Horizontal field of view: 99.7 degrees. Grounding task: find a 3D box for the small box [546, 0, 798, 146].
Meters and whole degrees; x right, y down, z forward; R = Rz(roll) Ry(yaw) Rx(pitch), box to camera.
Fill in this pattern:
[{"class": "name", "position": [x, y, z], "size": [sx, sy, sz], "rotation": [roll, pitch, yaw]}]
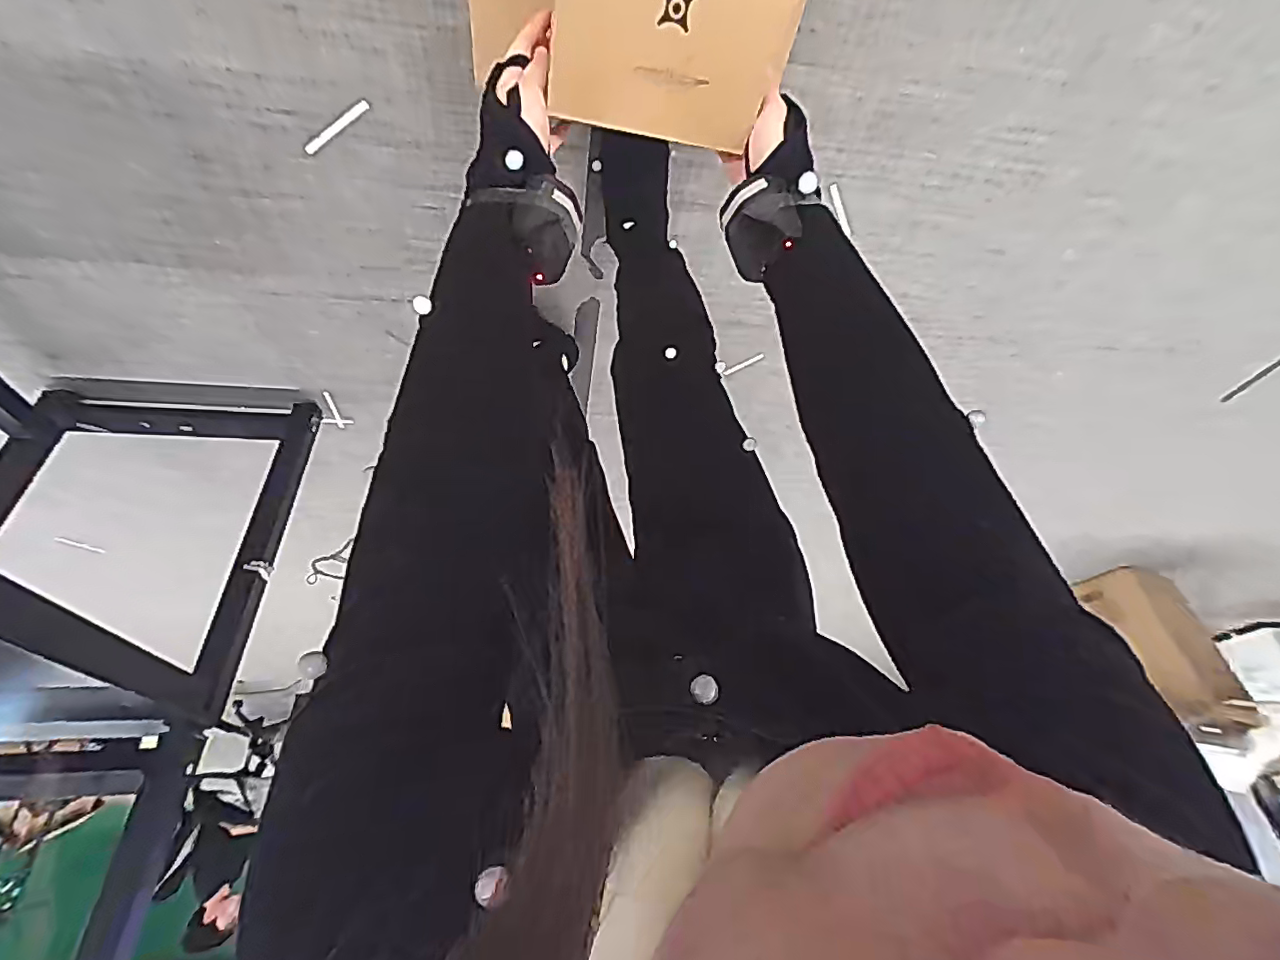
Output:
[{"class": "small box", "position": [0.020, -0.395, 0.404], "size": [0.168, 0.176, 0.179], "rotation": [3, 146, -14]}]
